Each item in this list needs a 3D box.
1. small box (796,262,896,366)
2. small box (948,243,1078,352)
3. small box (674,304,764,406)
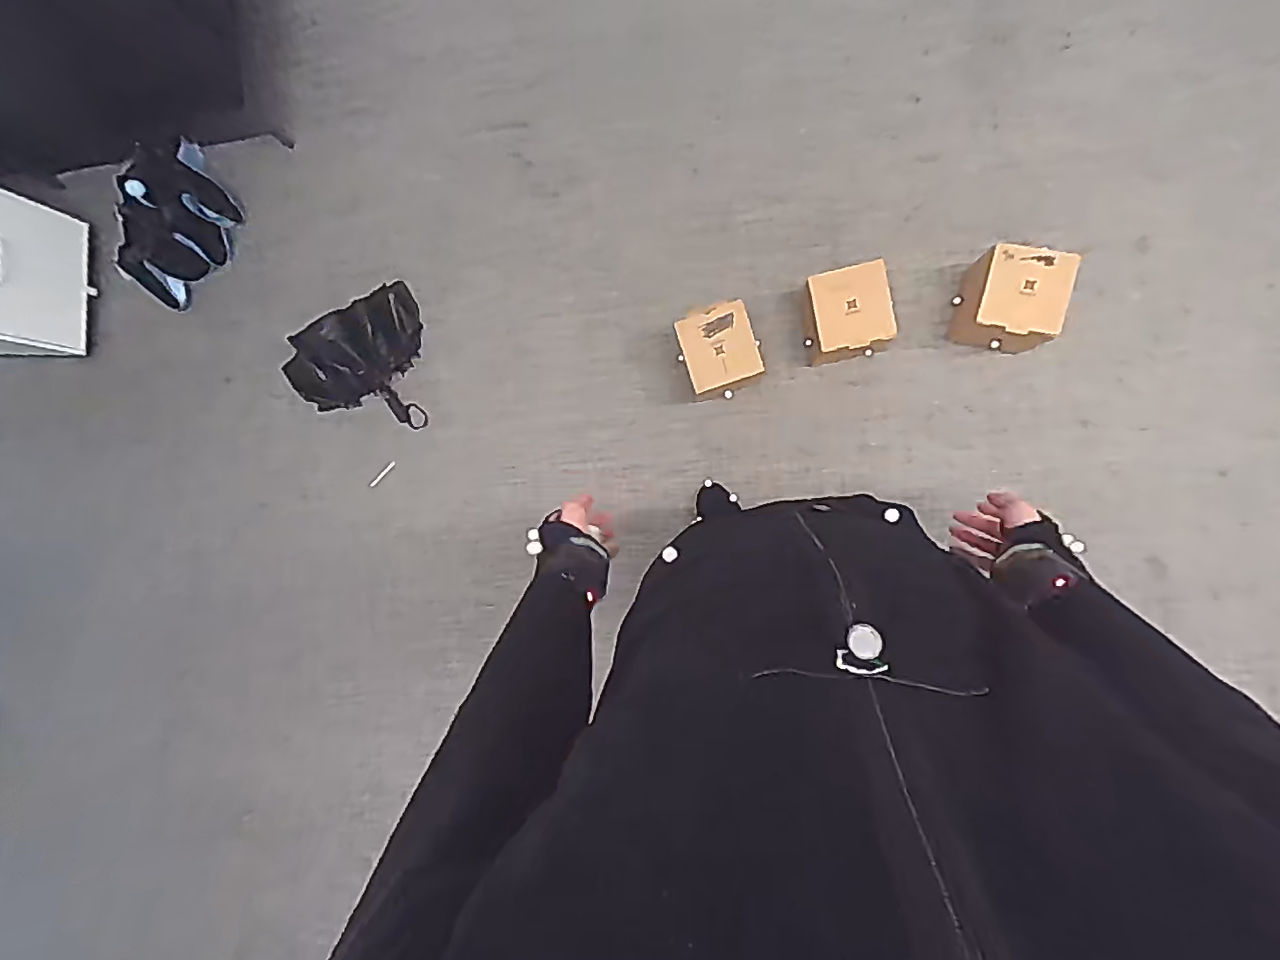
[{"bbox_3d":[0.473,-0.375,1.264,0.168,0.176,0.179,-13,87,8],"label":"small box"},{"bbox_3d":[0.817,-0.397,1.206,0.168,0.176,0.179,13,93,10],"label":"small box"},{"bbox_3d":[0.189,-0.293,1.306,0.168,0.176,0.179,-19,88,9],"label":"small box"}]
